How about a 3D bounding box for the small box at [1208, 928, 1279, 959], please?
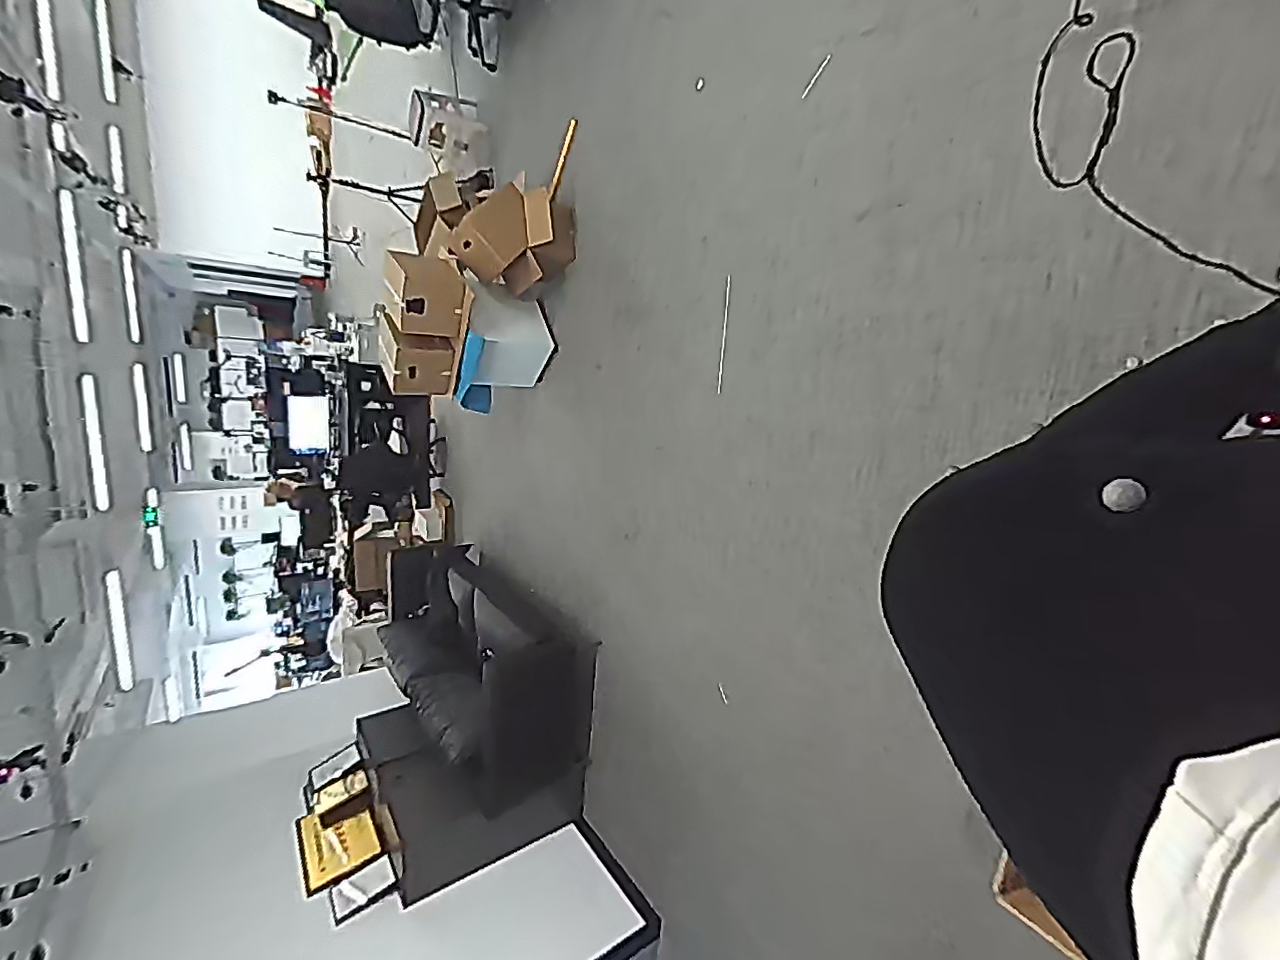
[{"bbox_3d":[1.104,0.963,0.950,0.168,0.176,0.179,17,108,50],"label":"small box"}]
